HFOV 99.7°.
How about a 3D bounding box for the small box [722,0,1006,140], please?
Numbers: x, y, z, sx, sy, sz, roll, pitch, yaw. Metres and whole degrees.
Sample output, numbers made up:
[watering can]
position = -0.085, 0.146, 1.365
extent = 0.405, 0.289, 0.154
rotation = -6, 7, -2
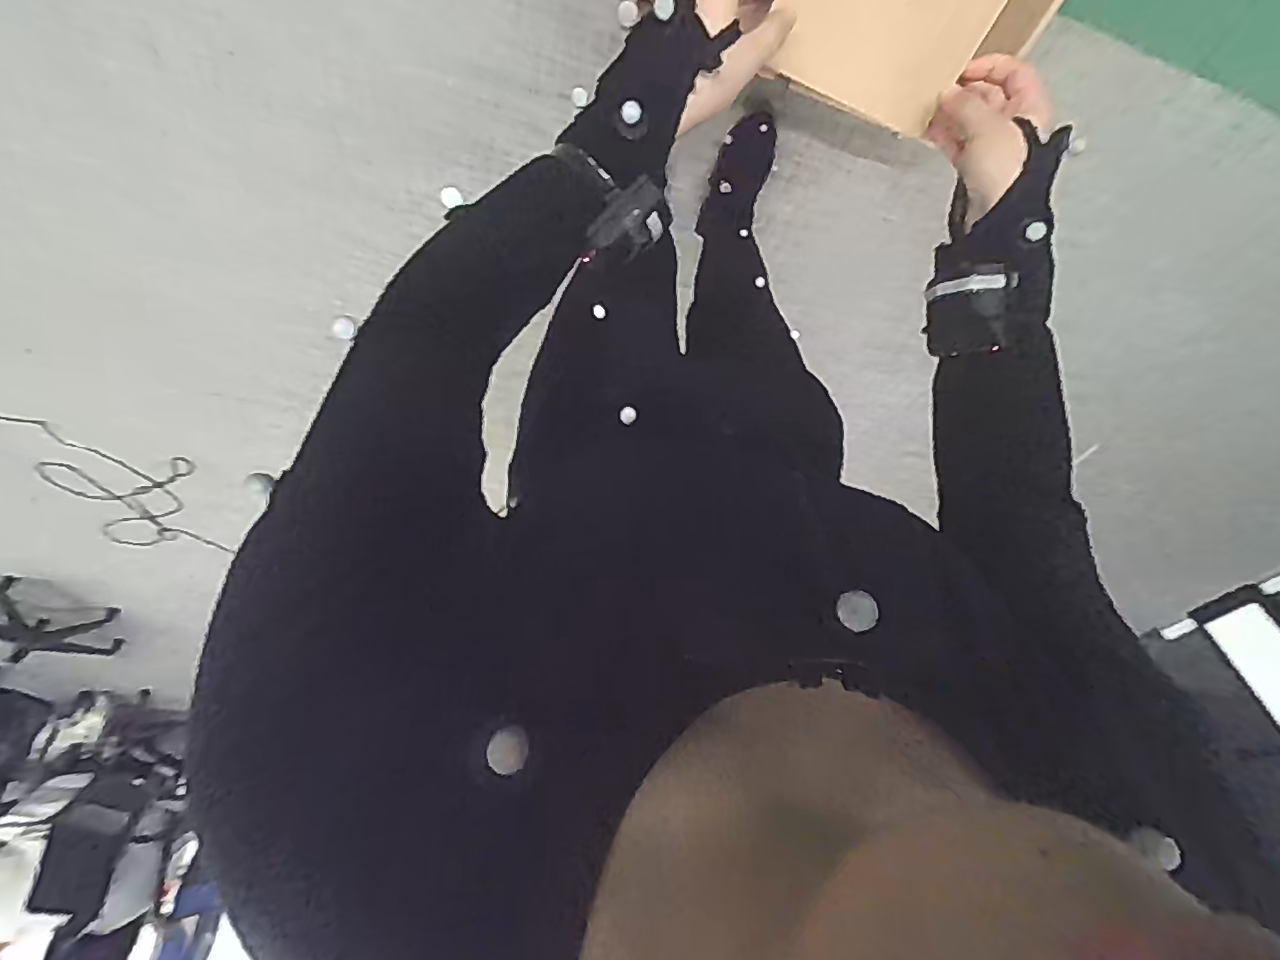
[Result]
[small box]
position = 0.180, -0.416, 0.430
extent = 0.168, 0.176, 0.179
rotation = 11, 132, -20
